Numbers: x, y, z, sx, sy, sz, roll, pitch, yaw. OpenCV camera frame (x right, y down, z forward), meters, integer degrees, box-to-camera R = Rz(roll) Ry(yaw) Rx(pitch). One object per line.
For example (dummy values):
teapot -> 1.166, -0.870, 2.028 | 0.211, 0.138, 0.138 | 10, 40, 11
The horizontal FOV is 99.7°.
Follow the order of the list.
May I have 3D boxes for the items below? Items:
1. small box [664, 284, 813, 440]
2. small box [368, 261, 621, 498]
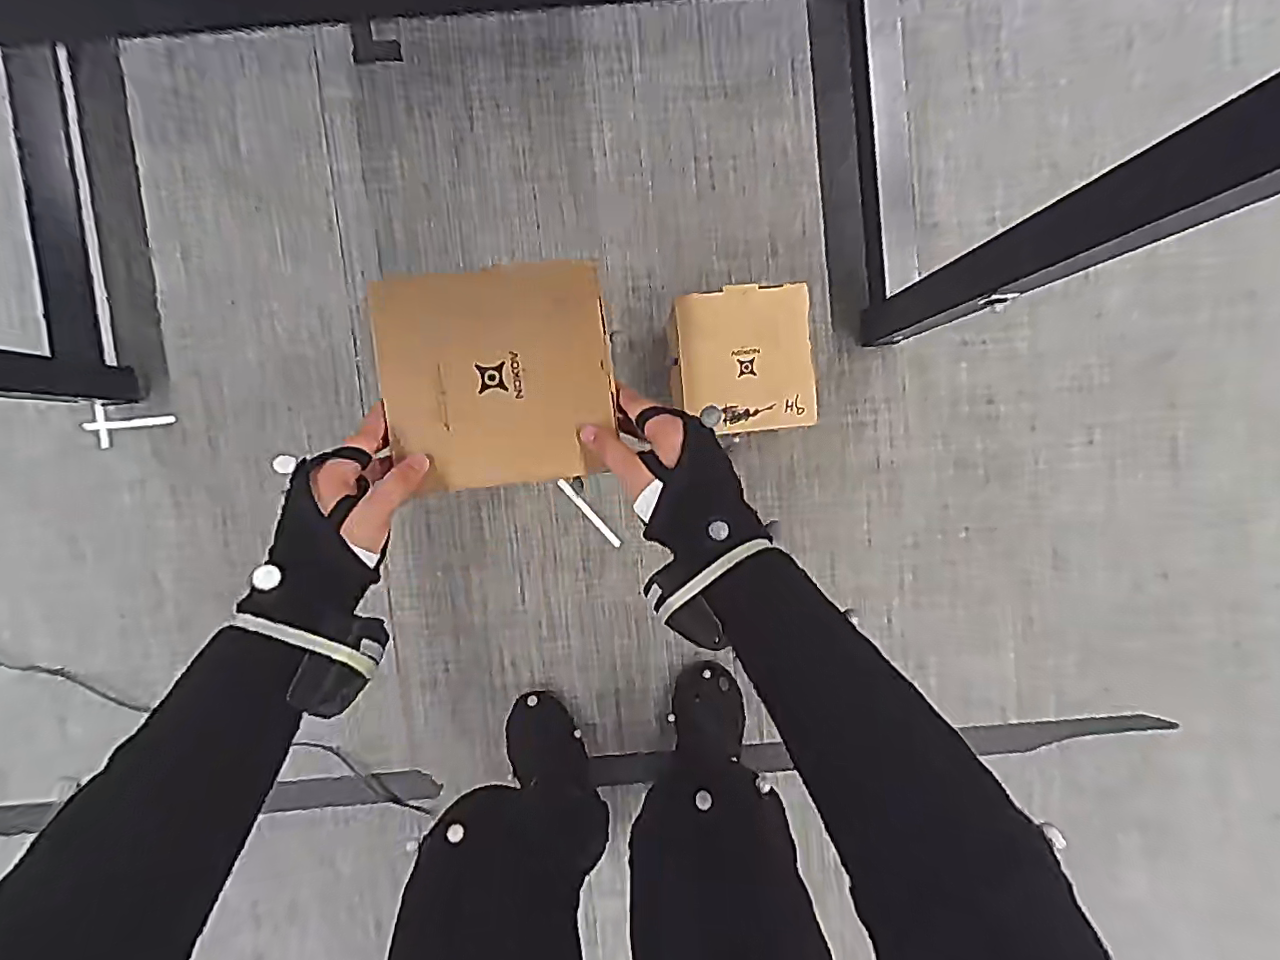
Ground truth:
small box -> 0.125, -0.151, 0.746 | 0.168, 0.176, 0.179 | -6, 93, 0
small box -> -0.114, -0.080, 0.496 | 0.179, 0.176, 0.168 | -8, 91, -1
